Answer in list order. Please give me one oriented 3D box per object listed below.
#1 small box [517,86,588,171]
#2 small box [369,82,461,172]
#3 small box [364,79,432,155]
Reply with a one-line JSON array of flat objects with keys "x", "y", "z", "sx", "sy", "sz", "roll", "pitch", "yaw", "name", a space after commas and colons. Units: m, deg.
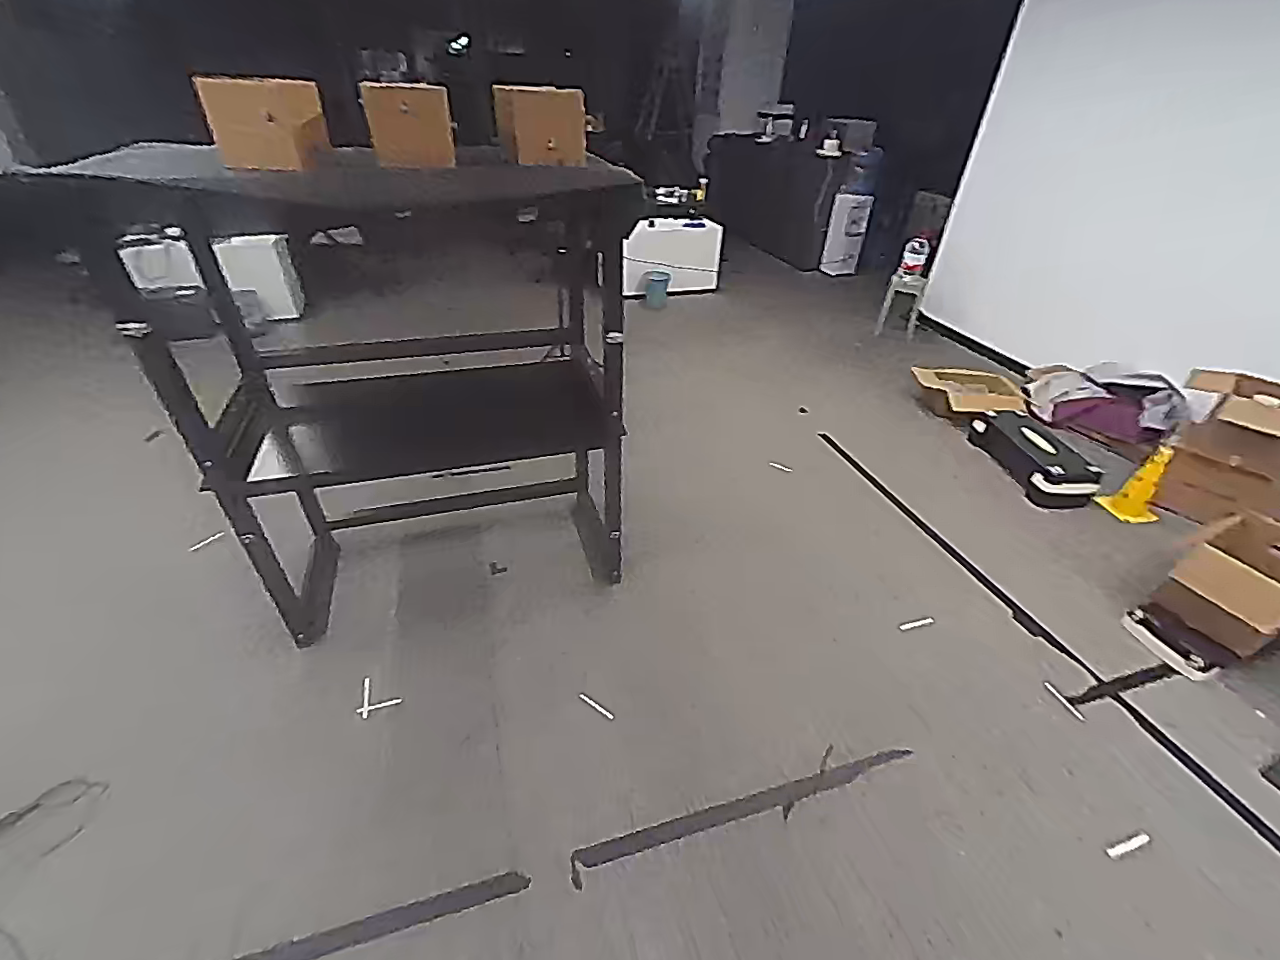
[{"x": -0.223, "y": -0.902, "z": 1.386, "sx": 0.168, "sy": 0.176, "sz": 0.179, "roll": -5, "pitch": 37, "yaw": -9, "name": "small box"}, {"x": -0.537, "y": -0.857, "z": 1.314, "sx": 0.179, "sy": 0.176, "sz": 0.168, "roll": -9, "pitch": 38, "yaw": -14, "name": "small box"}, {"x": -0.644, "y": -0.998, "z": 1.494, "sx": 0.168, "sy": 0.176, "sz": 0.179, "roll": -10, "pitch": 38, "yaw": -14, "name": "small box"}]
